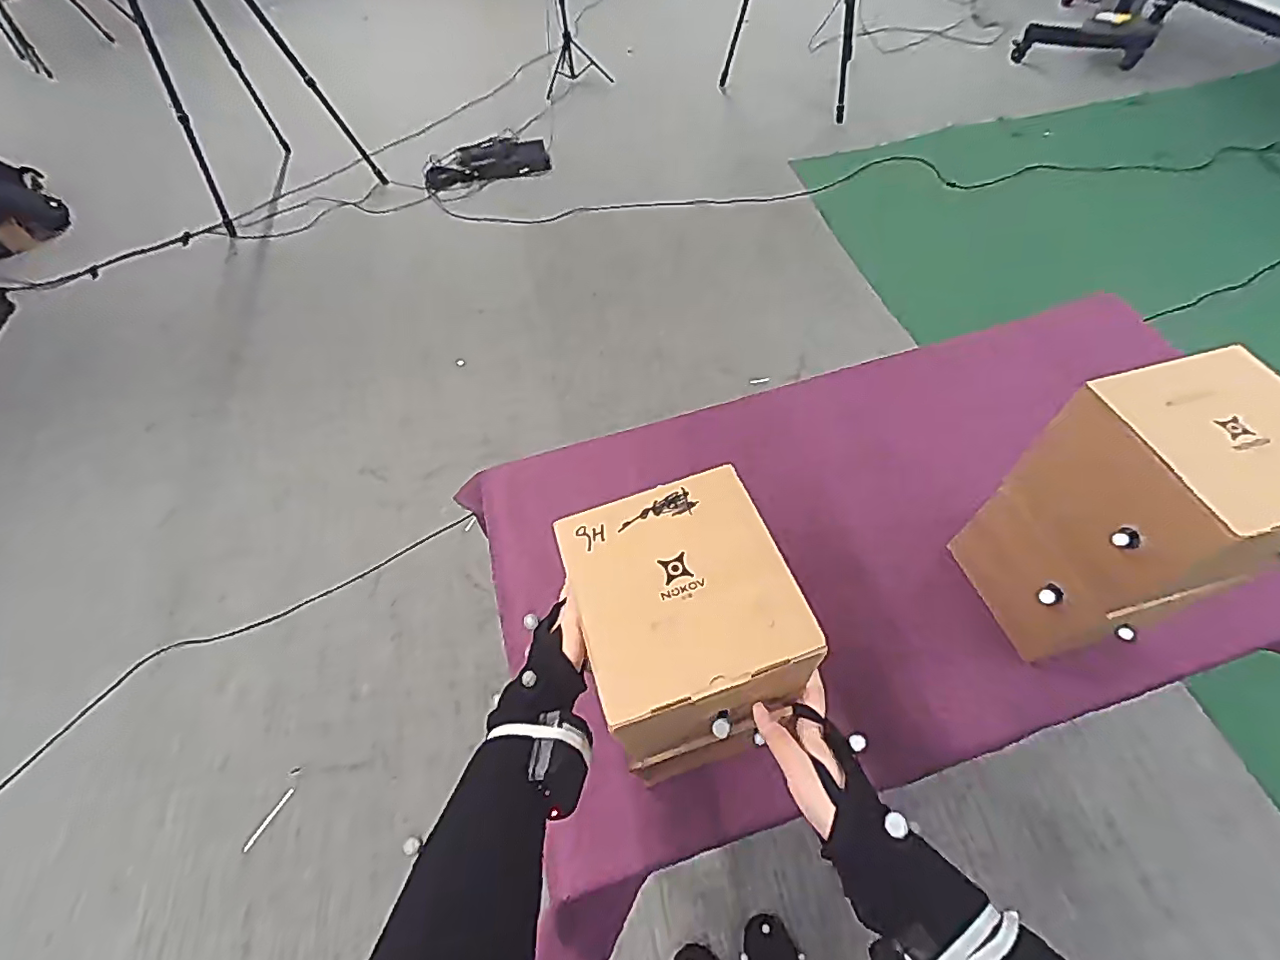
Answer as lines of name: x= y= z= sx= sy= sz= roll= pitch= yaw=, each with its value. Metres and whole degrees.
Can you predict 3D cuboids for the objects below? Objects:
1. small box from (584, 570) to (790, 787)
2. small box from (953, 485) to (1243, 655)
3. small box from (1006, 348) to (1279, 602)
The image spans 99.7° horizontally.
small box: x=0.050 y=0.236 z=0.627 sx=0.179 sy=0.176 sz=0.168 roll=-18 pitch=56 yaw=-7
small box: x=0.533 y=0.100 z=0.665 sx=0.168 sy=0.176 sz=0.179 roll=-15 pitch=55 yaw=-5
small box: x=0.518 y=0.005 z=0.533 sx=0.168 sy=0.176 sz=0.179 roll=-13 pitch=55 yaw=-3
